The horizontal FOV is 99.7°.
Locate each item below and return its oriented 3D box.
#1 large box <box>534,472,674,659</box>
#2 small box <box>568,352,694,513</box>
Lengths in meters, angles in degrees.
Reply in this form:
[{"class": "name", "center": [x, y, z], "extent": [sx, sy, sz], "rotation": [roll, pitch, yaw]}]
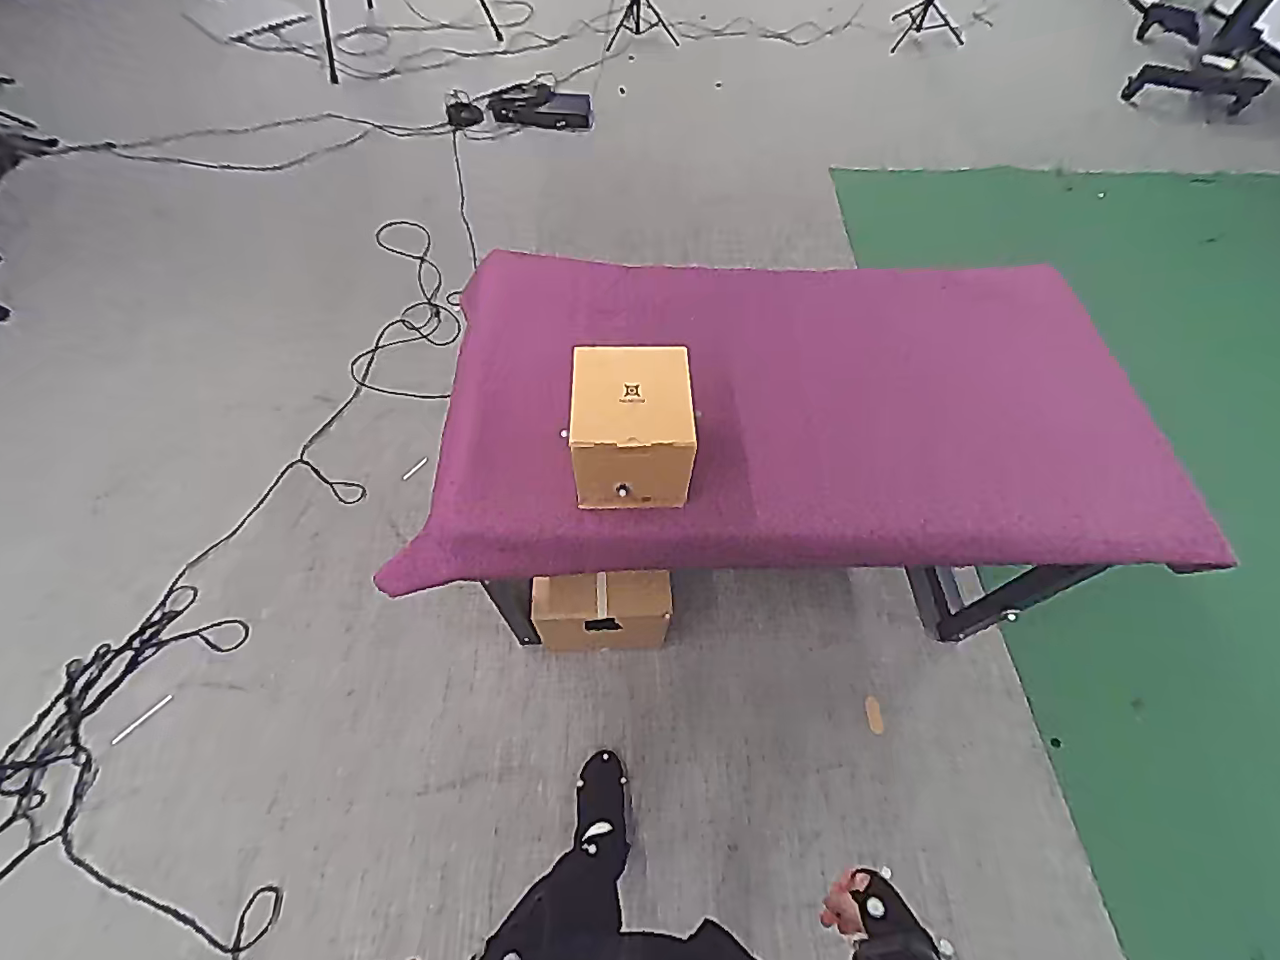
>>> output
[{"class": "large box", "center": [-0.095, 0.222, 1.398], "extent": [0.320, 0.320, 0.408], "rotation": [-2, 60, -2]}, {"class": "small box", "center": [-0.016, -0.067, 0.801], "extent": [0.168, 0.176, 0.179], "rotation": [-1, 58, -3]}]
